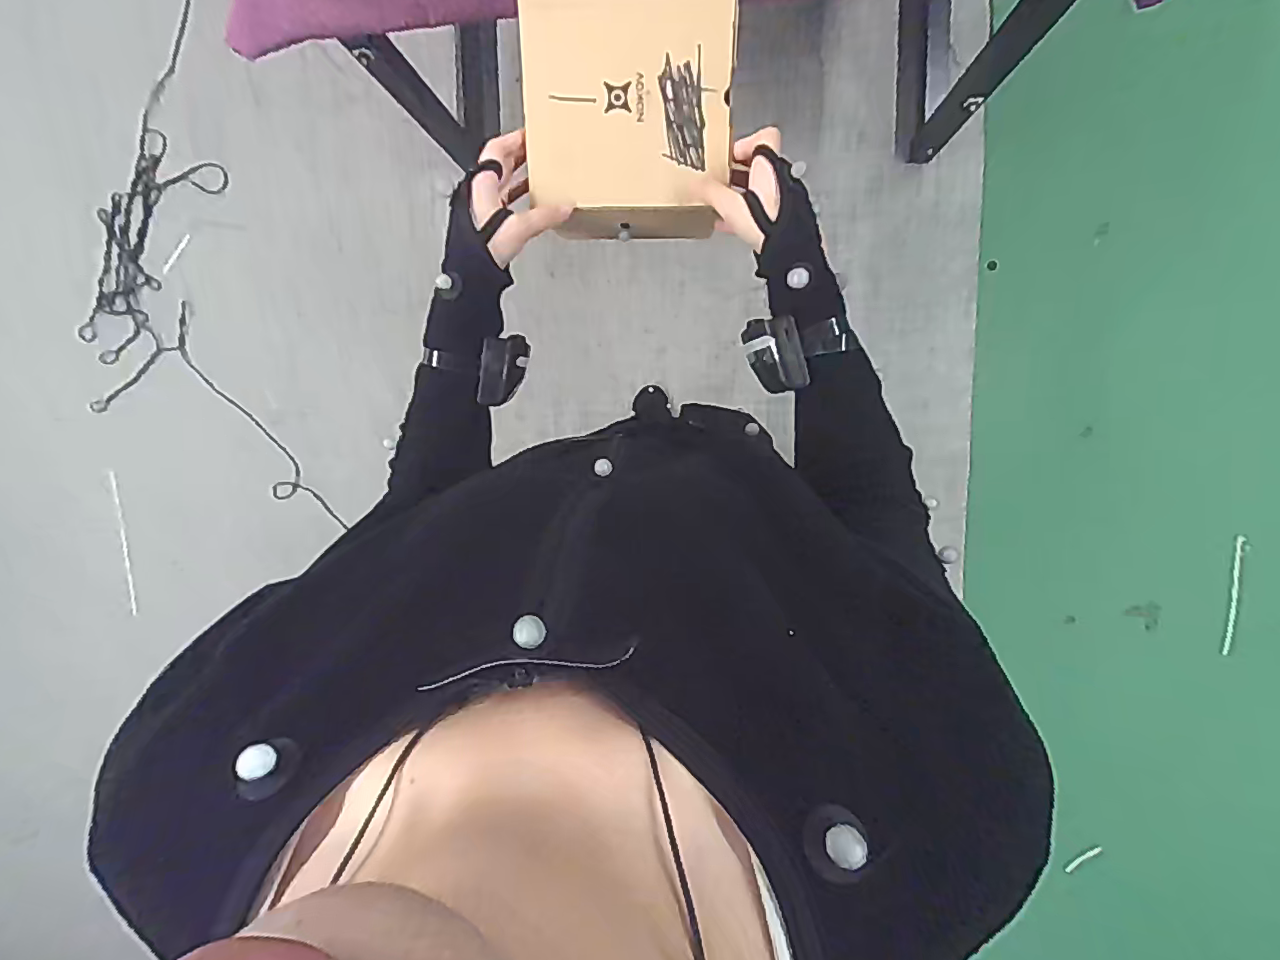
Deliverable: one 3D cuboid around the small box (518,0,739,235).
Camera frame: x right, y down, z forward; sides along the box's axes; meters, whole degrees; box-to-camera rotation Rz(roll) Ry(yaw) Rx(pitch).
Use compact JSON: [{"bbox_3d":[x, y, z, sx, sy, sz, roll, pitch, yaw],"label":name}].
[{"bbox_3d":[-0.009,-0.339,0.518,0.179,0.176,0.168,1,105,2],"label":"small box"}]
